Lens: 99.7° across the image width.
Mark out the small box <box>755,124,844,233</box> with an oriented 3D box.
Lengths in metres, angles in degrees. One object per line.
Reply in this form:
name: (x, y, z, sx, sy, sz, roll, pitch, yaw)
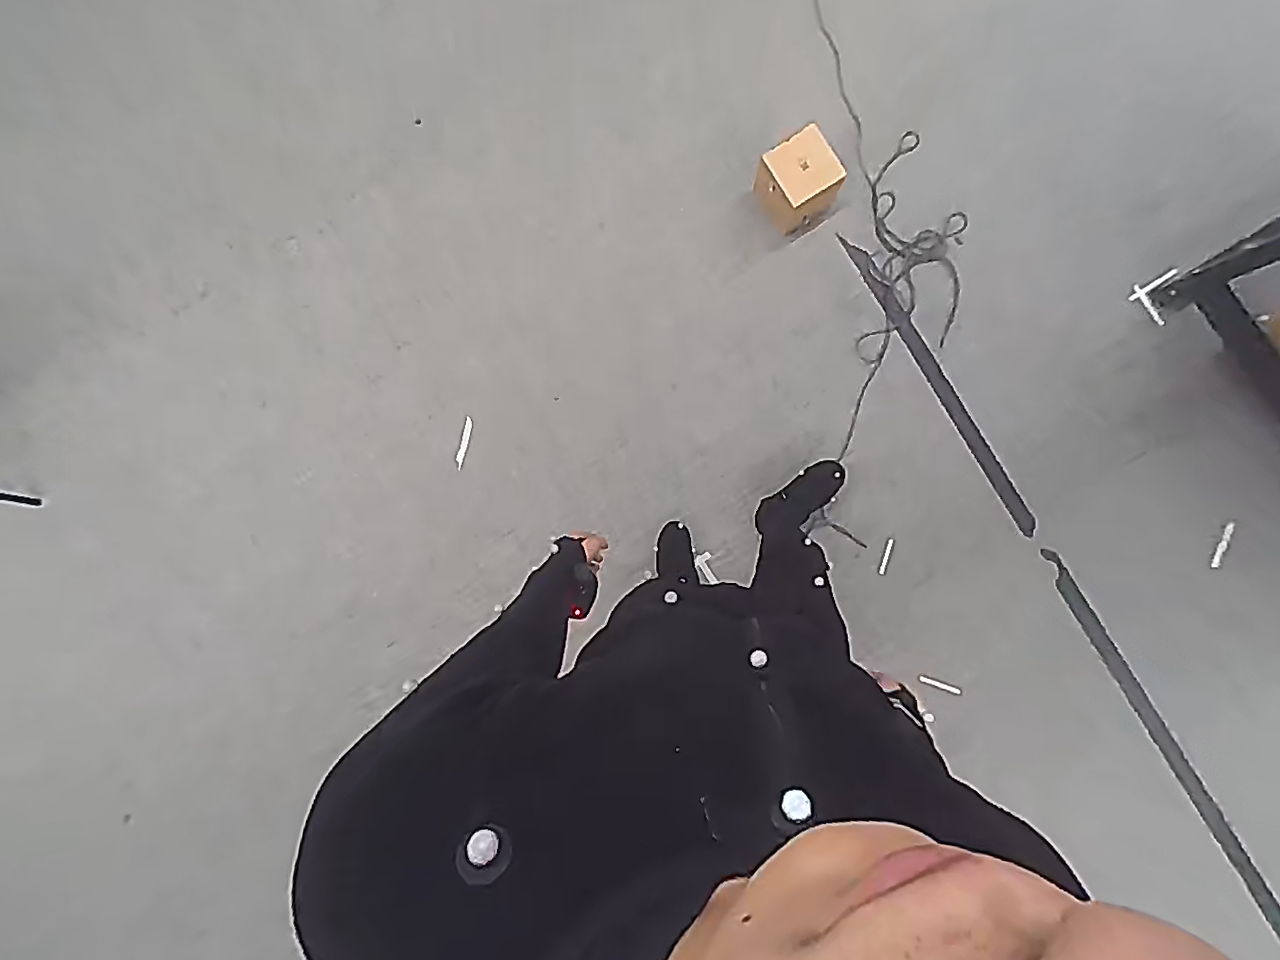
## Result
small box: (0.444, -0.848, 1.539, 0.168, 0.176, 0.179, -31, 87, 4)
